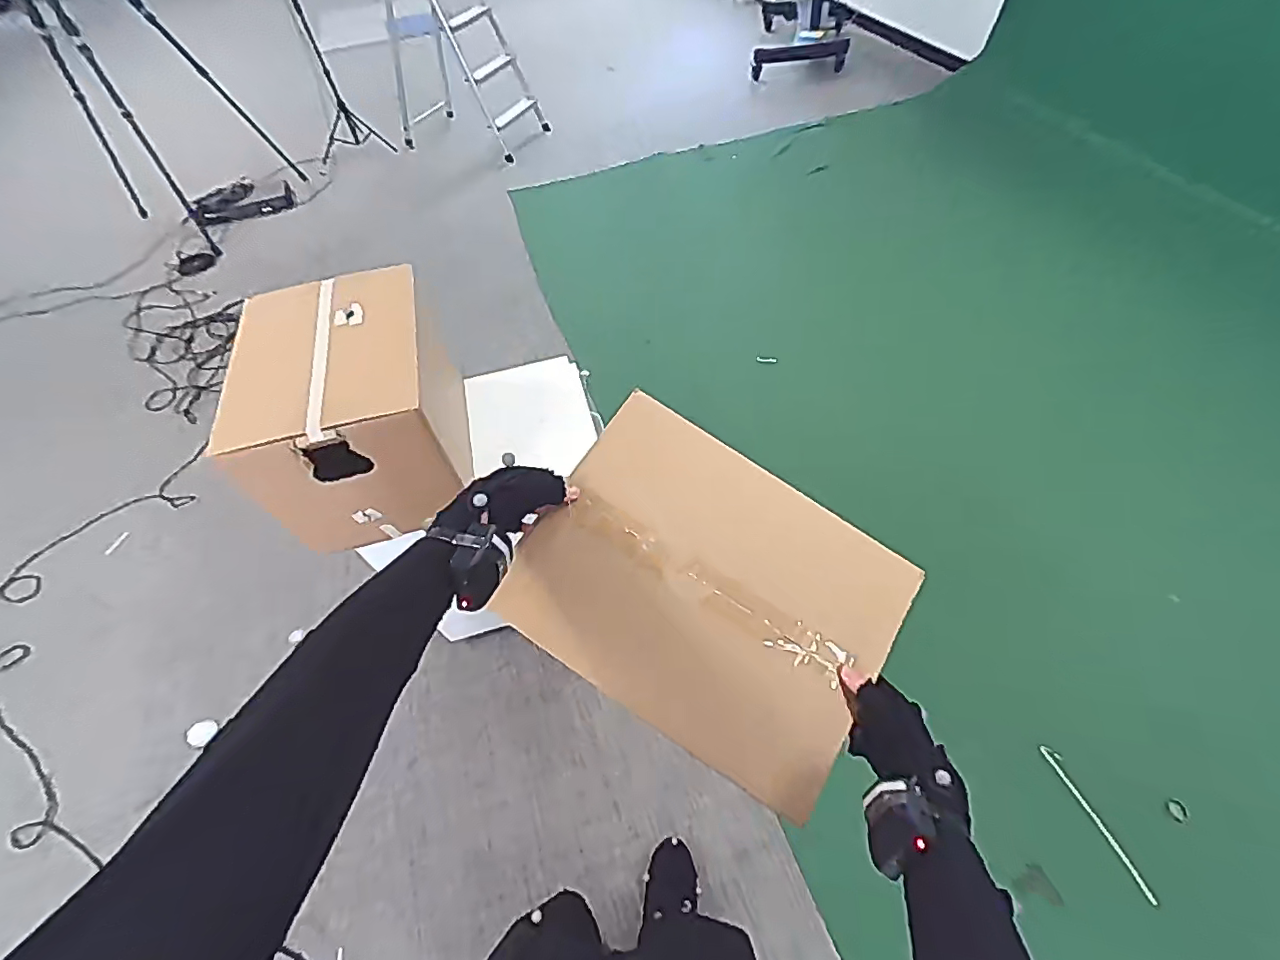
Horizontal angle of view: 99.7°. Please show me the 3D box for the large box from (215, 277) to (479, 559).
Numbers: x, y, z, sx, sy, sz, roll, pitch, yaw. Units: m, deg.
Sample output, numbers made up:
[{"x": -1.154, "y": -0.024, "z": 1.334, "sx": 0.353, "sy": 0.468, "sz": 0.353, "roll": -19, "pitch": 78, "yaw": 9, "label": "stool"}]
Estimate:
[{"x": -0.526, "y": -0.120, "z": 1.046, "sx": 0.320, "sy": 0.320, "sz": 0.408, "roll": -15, "pitch": 53, "yaw": -6, "label": "large box"}]
